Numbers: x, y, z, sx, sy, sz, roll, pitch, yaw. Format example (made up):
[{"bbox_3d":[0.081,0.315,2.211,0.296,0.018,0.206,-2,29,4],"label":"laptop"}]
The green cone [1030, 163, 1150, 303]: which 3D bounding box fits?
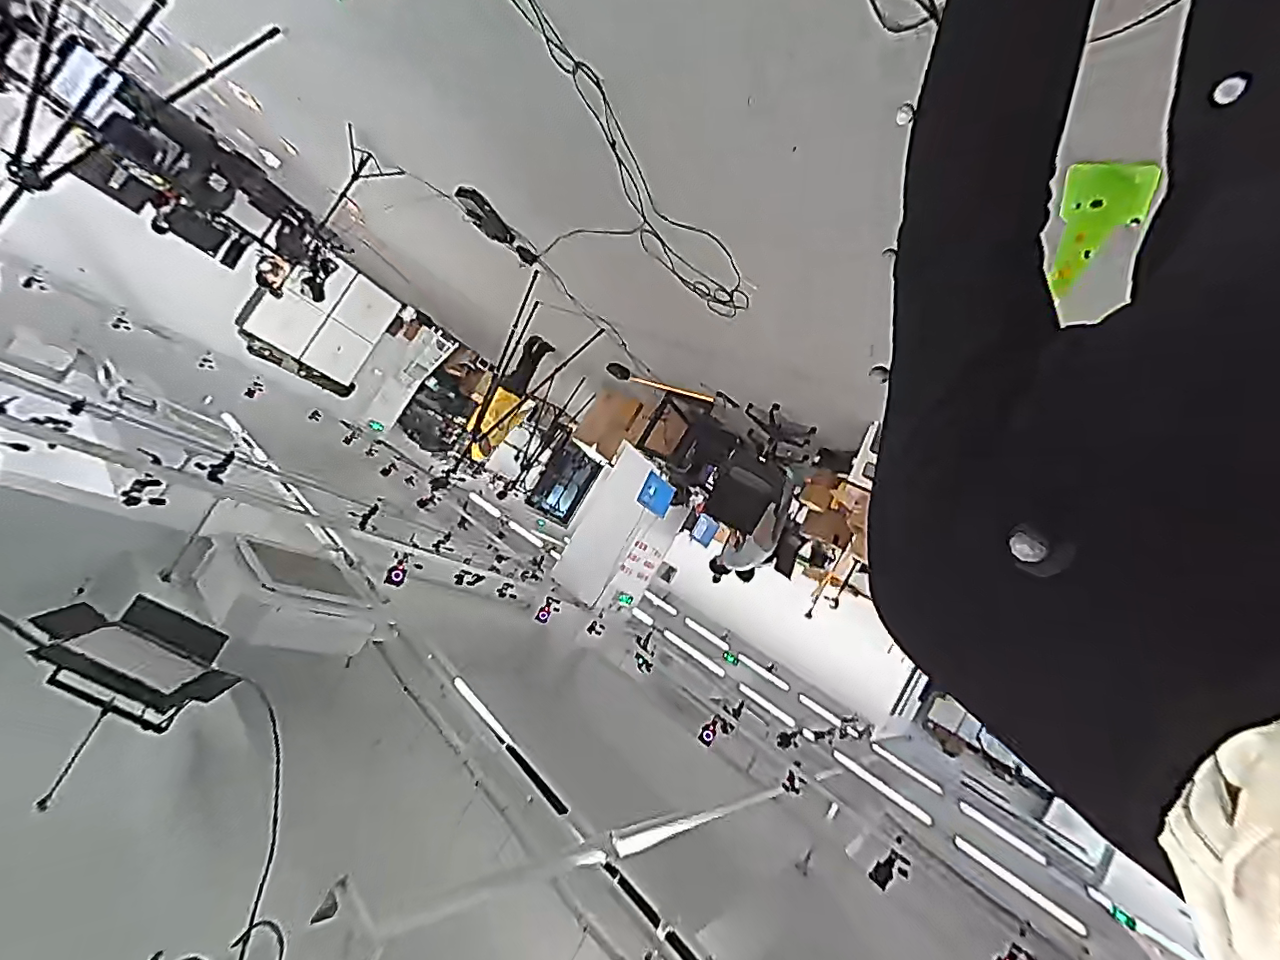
[{"bbox_3d":[1.186,-0.651,1.490,0.202,0.368,0.200,28,174,36],"label":"green cone"}]
